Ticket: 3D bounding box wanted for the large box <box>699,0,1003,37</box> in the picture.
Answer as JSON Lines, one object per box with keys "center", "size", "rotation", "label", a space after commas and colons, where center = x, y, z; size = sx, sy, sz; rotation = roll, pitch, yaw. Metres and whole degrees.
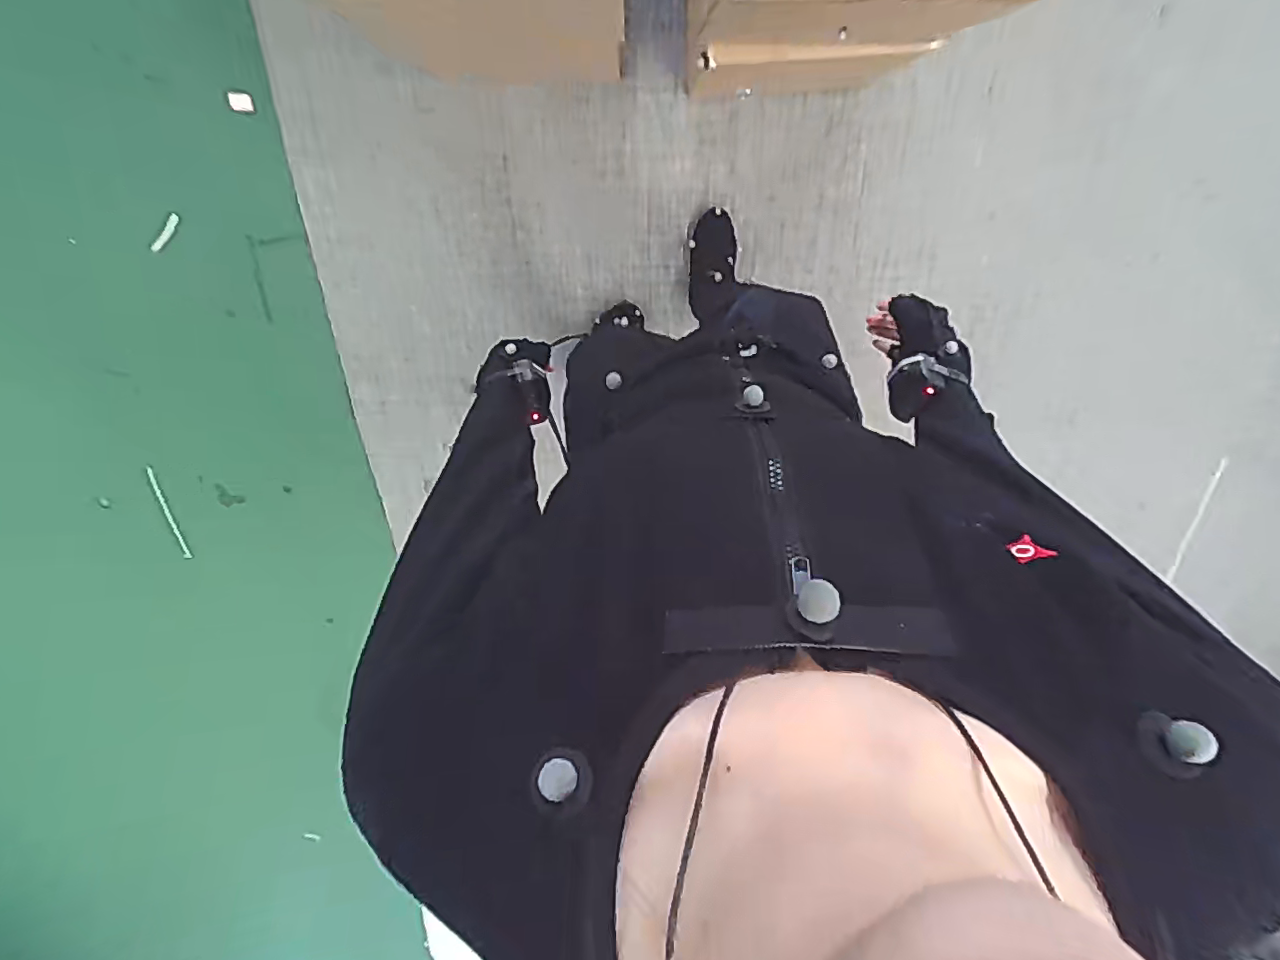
{"center": [0.293, -0.796, 0.700], "size": [0.408, 0.320, 0.320], "rotation": [0, 121, 1], "label": "large box"}
